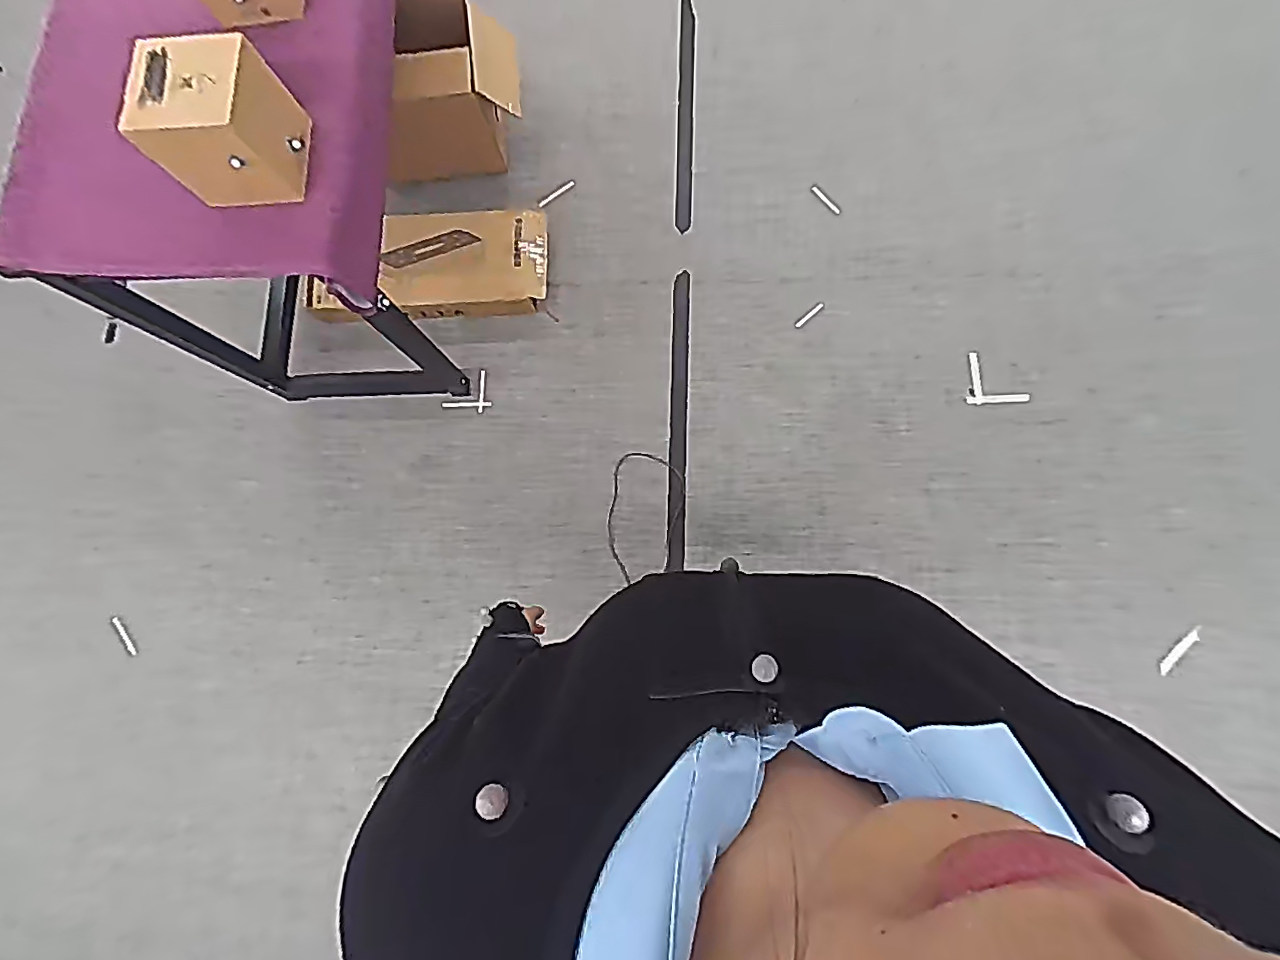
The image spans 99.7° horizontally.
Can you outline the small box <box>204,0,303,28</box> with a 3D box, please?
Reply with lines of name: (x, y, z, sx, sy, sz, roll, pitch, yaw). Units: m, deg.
small box: (-0.726, -0.964, 0.964, 0.168, 0.176, 0.179, -2, 79, 5)
